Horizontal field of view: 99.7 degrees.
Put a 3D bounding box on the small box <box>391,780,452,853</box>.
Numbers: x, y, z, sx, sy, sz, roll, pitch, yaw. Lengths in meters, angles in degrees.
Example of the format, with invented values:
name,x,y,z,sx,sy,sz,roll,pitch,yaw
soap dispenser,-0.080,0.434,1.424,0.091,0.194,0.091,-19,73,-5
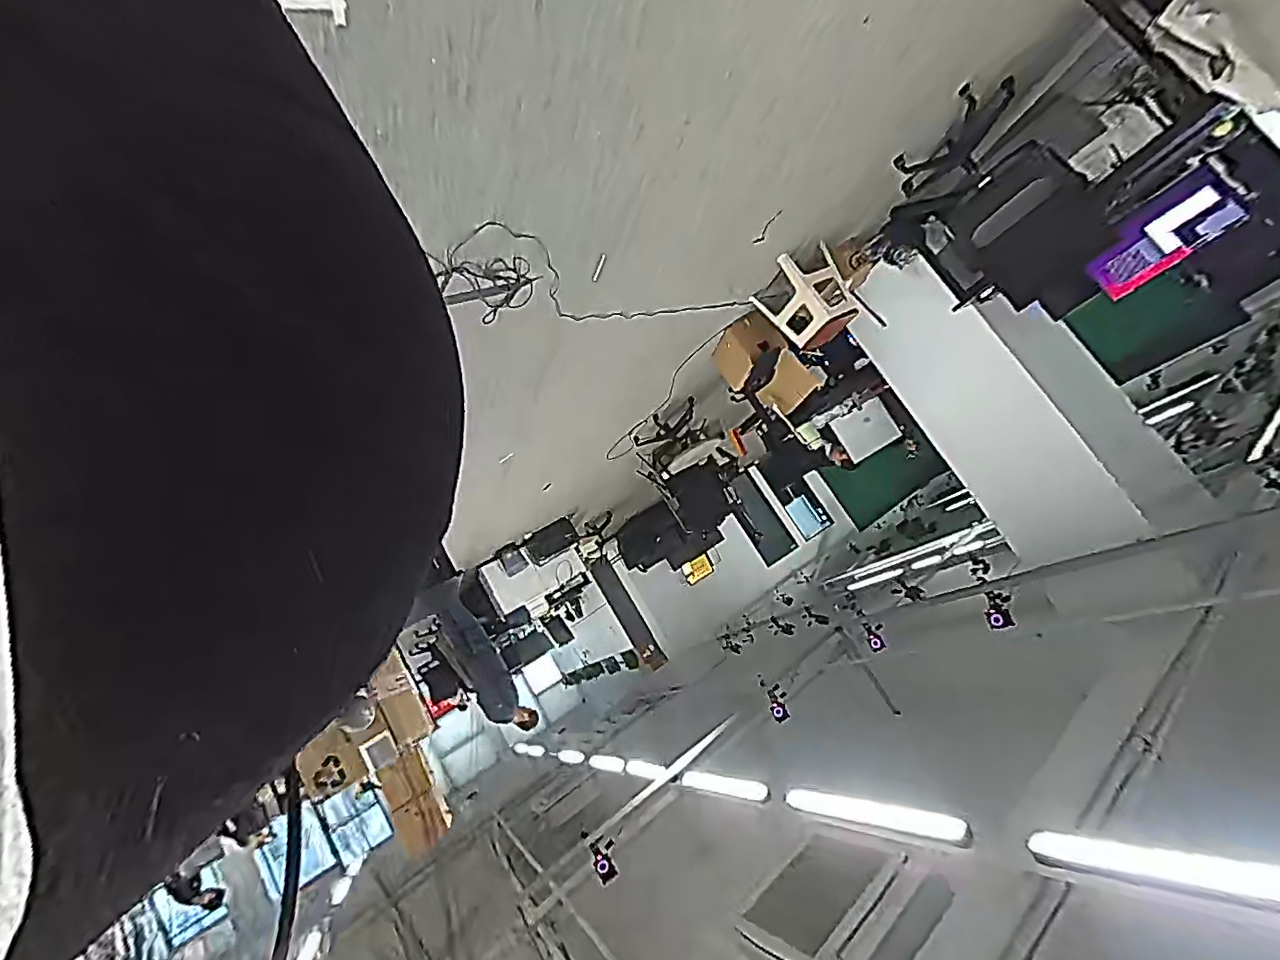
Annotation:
name,x,y,z,sx,sy,sz,roll,pitch,yaw
small box,-0.858,1.317,2.133,0.168,0.176,0.179,-27,170,-22

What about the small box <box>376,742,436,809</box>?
name,x,y,z,sx,sy,sz,roll,pitch,yaw
small box,-0.935,1.175,2.169,0.168,0.176,0.179,-26,170,-24
